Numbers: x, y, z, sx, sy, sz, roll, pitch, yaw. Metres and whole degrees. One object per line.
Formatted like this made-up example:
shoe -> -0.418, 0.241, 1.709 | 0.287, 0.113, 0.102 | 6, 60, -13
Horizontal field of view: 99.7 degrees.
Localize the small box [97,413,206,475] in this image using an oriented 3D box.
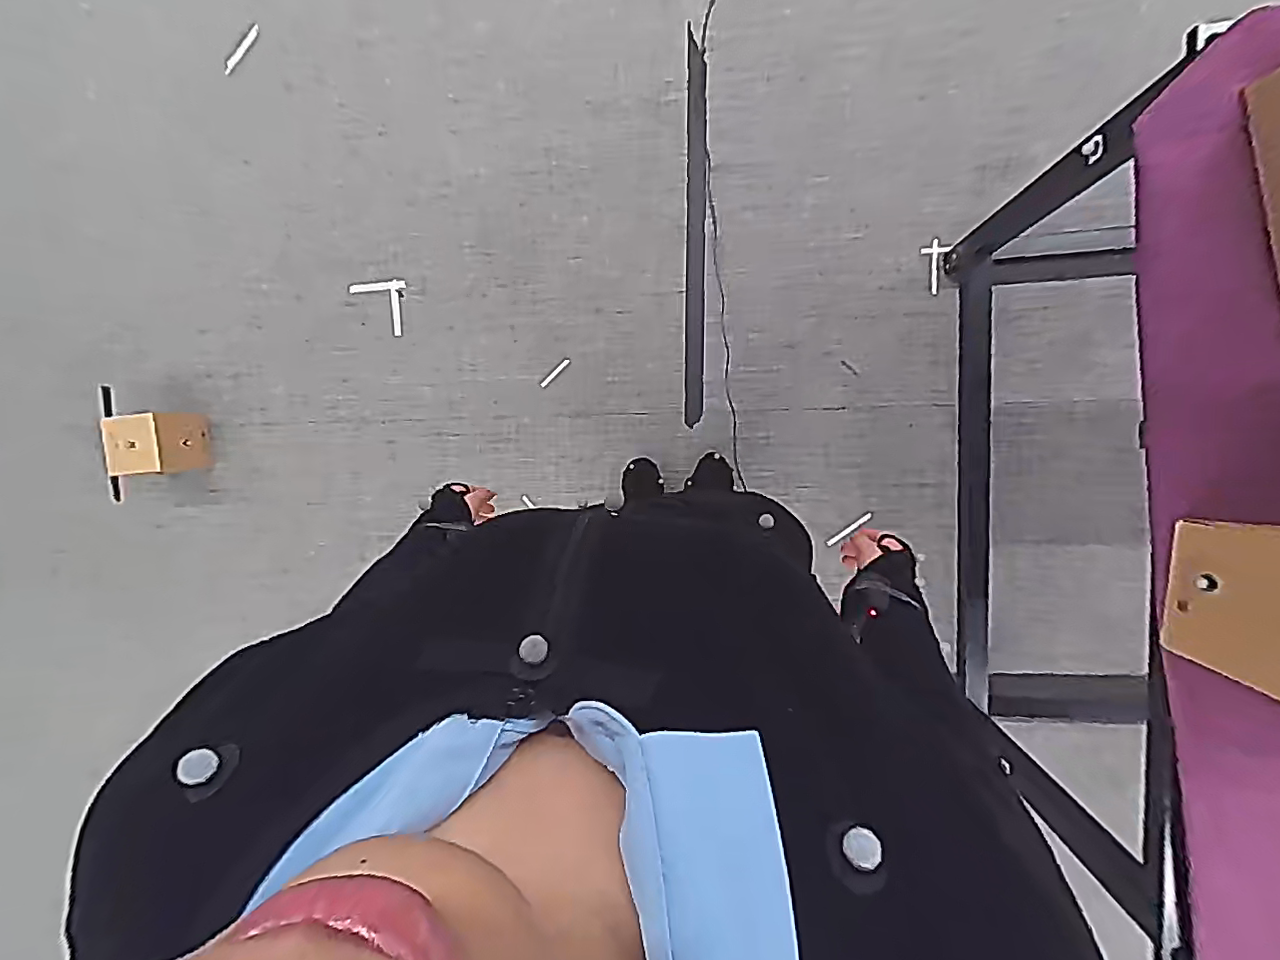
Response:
small box -> -1.419, -0.106, 1.586 | 0.179, 0.176, 0.168 | -4, 93, 8
